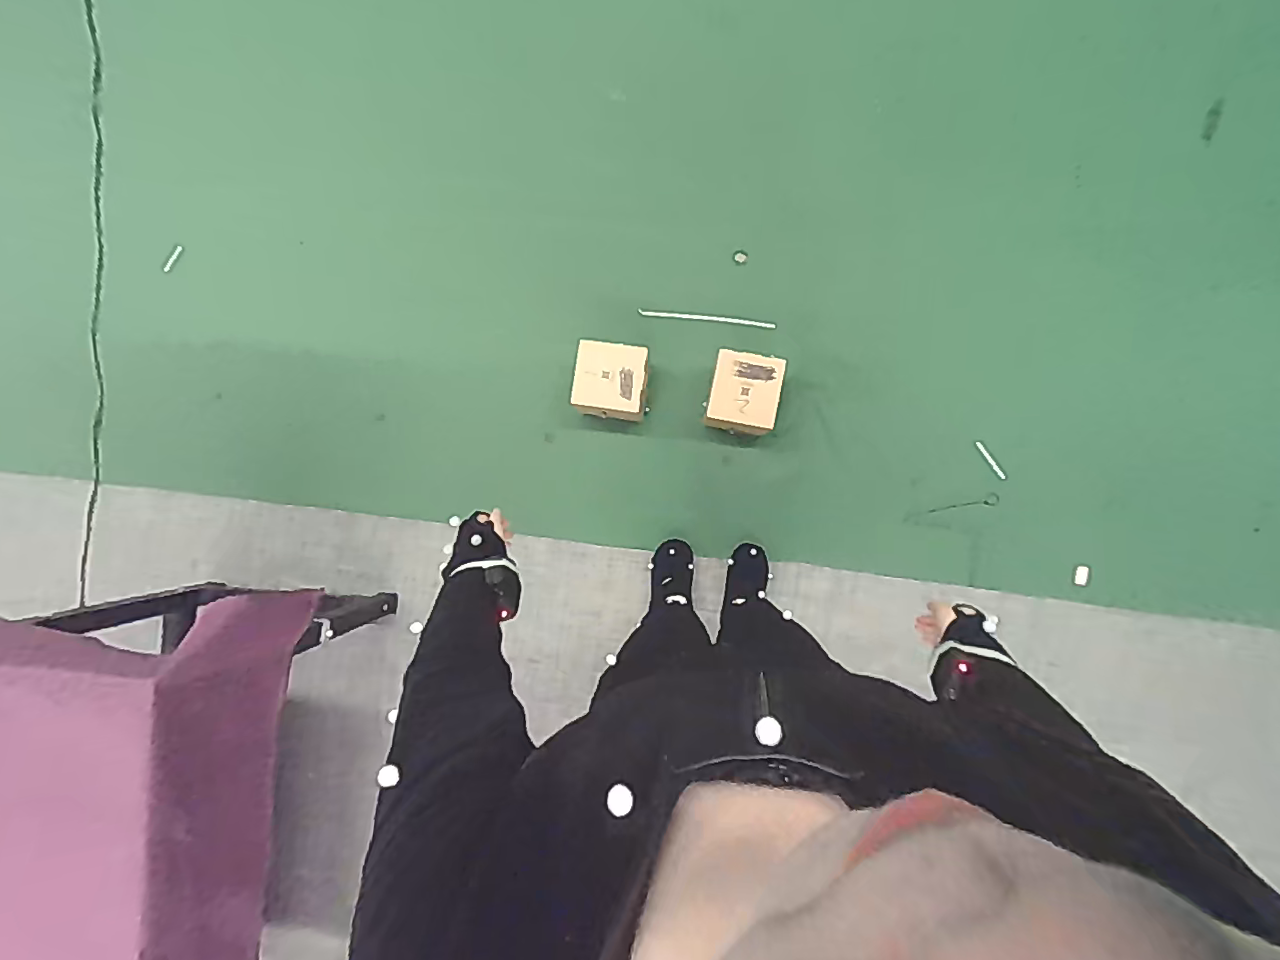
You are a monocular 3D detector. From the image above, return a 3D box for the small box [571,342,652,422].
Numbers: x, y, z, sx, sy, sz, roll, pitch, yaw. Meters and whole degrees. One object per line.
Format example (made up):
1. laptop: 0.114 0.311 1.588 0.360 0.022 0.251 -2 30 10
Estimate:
1. small box: -0.067 -0.250 1.421 0.179 0.176 0.168 9 89 6
